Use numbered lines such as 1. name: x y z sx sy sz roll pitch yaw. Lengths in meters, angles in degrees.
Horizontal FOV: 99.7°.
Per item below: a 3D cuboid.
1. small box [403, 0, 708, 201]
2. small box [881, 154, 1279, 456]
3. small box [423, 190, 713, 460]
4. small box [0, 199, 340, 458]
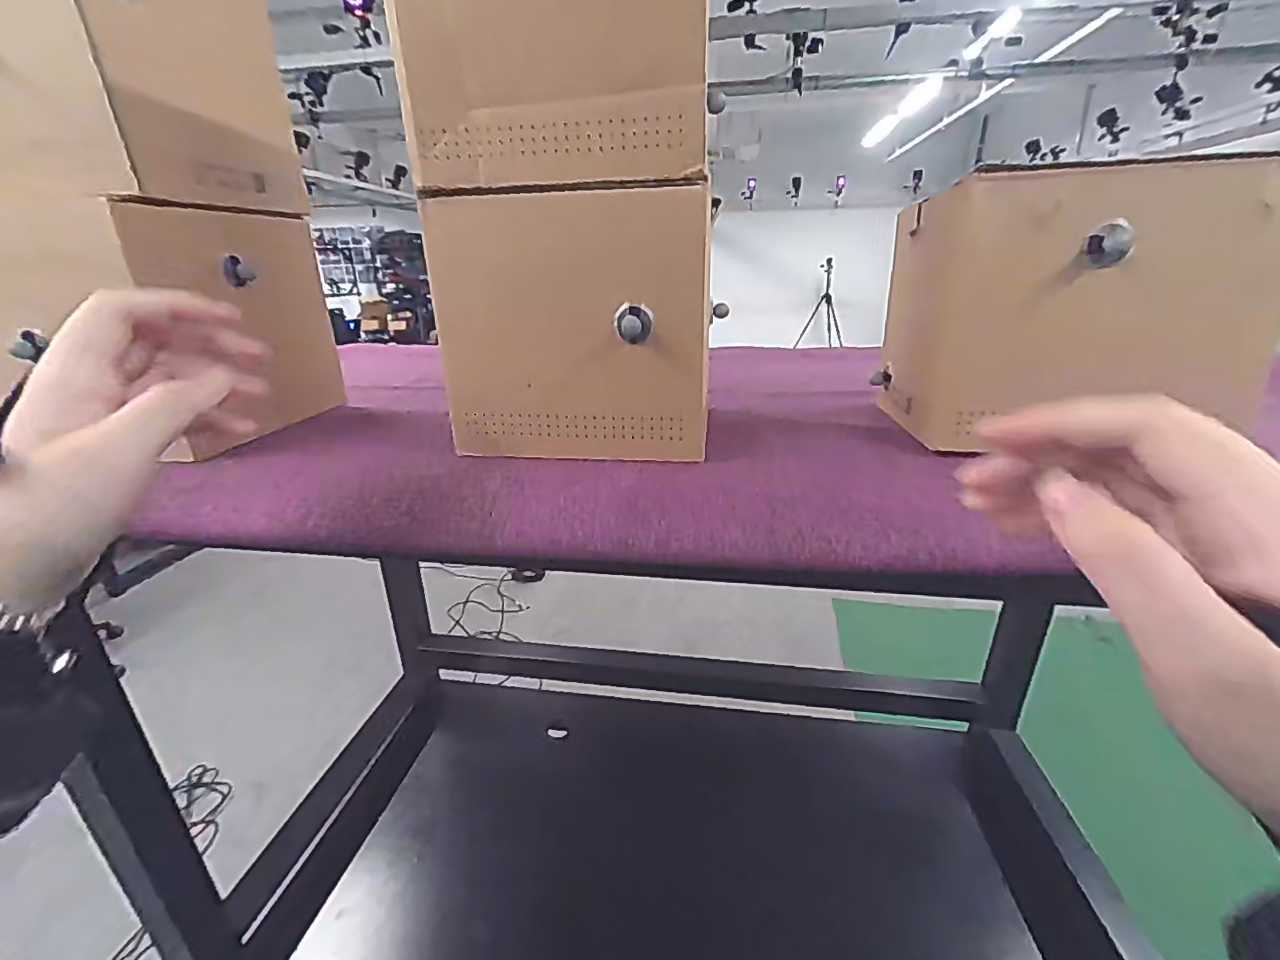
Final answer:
1. small box: -0.044 -0.270 0.364 0.179 0.176 0.168 1 20 6
2. small box: 0.288 -0.117 0.396 0.179 0.176 0.168 2 19 10
3. small box: -0.035 -0.117 0.419 0.179 0.176 0.168 1 20 8
4. small box: -0.377 -0.122 0.437 0.168 0.176 0.179 2 22 6
